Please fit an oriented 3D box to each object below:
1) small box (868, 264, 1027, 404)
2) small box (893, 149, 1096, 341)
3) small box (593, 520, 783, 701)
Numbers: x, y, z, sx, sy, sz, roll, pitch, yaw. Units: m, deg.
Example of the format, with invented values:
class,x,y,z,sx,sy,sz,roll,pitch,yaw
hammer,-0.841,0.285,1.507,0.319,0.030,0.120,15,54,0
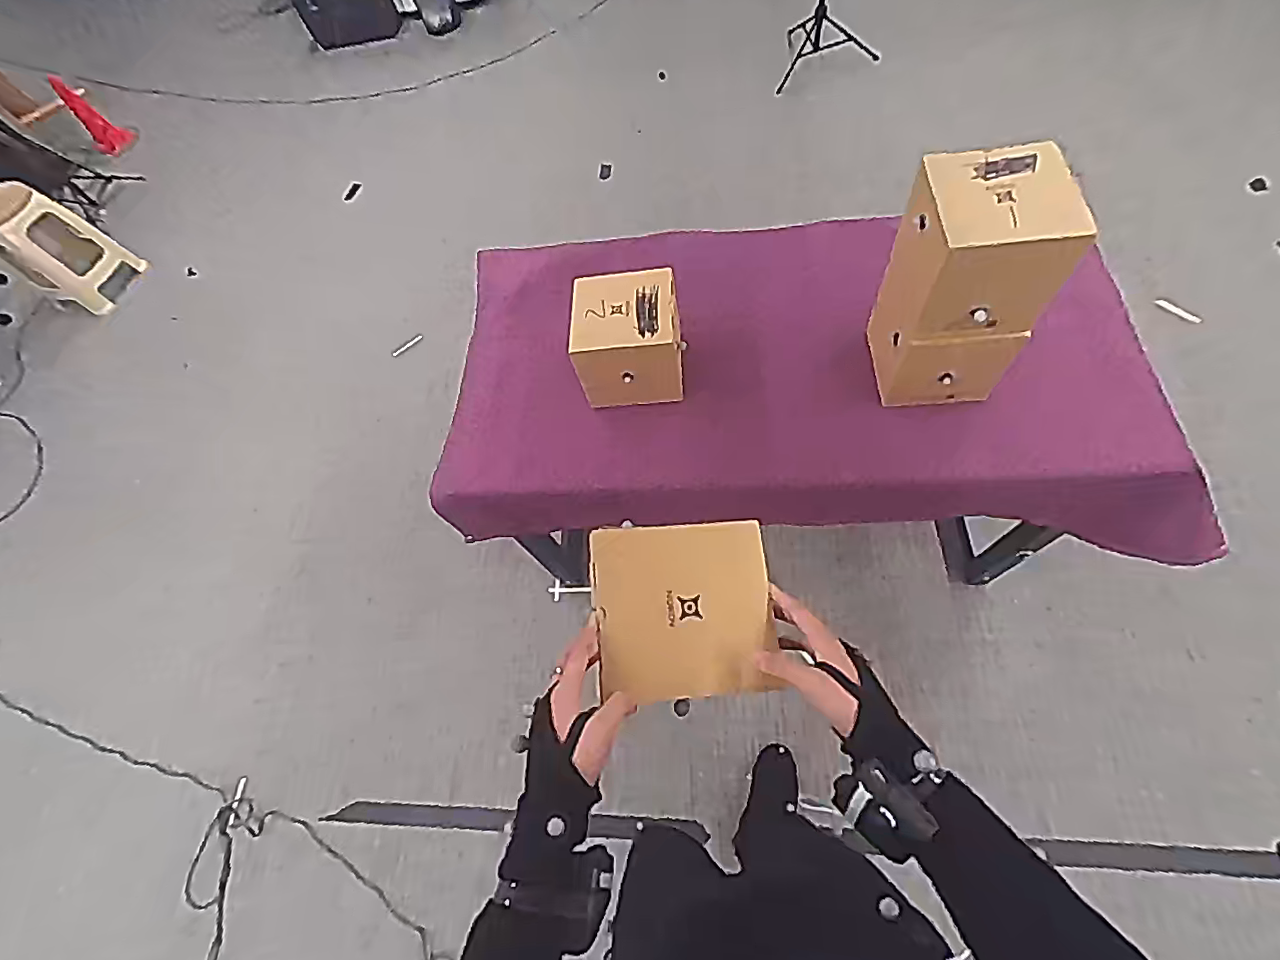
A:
class,x,y,z,sx,sy,sz,roll,pitch,yaw
small box,0.490,-0.237,0.891,0.168,0.176,0.179,-2,64,8
small box,0.467,-0.317,0.749,0.168,0.176,0.179,-2,65,9
small box,0.039,0.146,0.603,0.179,0.176,0.168,-4,72,-5
